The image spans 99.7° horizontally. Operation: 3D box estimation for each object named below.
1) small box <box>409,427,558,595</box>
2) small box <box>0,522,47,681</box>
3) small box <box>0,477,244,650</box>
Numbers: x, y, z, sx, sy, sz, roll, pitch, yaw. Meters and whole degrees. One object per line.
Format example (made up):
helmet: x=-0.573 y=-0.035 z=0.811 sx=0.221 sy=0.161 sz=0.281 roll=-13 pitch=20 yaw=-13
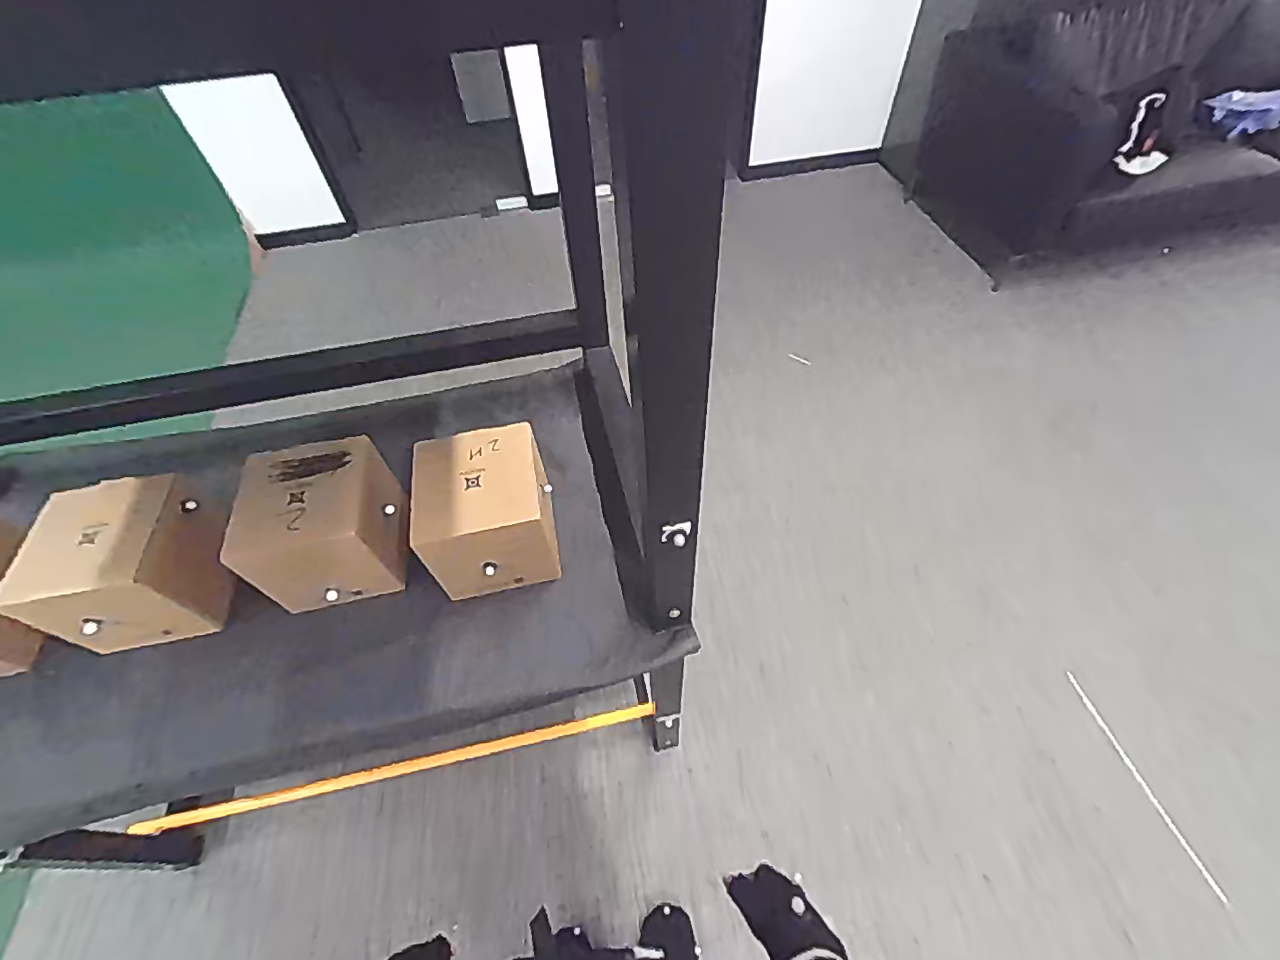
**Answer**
small box: x=-0.221 y=0.053 z=0.792 sx=0.168 sy=0.176 sz=0.179 roll=-11 pitch=53 yaw=-6
small box: x=-0.953 y=0.171 z=0.736 sx=0.168 sy=0.176 sz=0.179 roll=-10 pitch=54 yaw=-5
small box: x=-0.705 y=0.125 z=0.763 sx=0.168 sy=0.176 sz=0.179 roll=-10 pitch=53 yaw=-5
